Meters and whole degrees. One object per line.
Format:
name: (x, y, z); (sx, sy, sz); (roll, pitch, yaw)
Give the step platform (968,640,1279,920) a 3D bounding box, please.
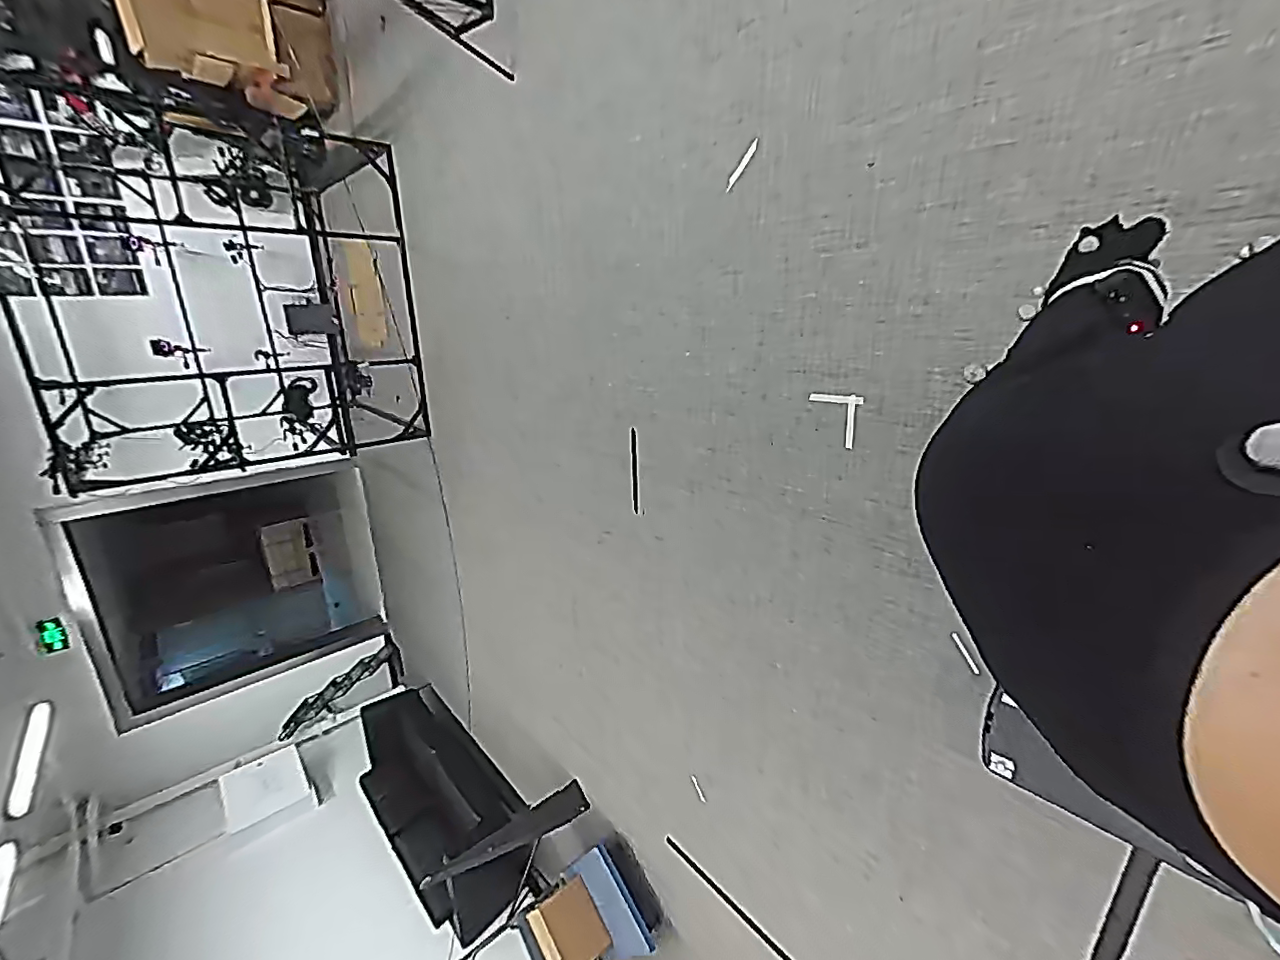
step platform: (1.096, 0.616, 1.145); (0.684, 0.204, 0.286); (17, 115, 47)
